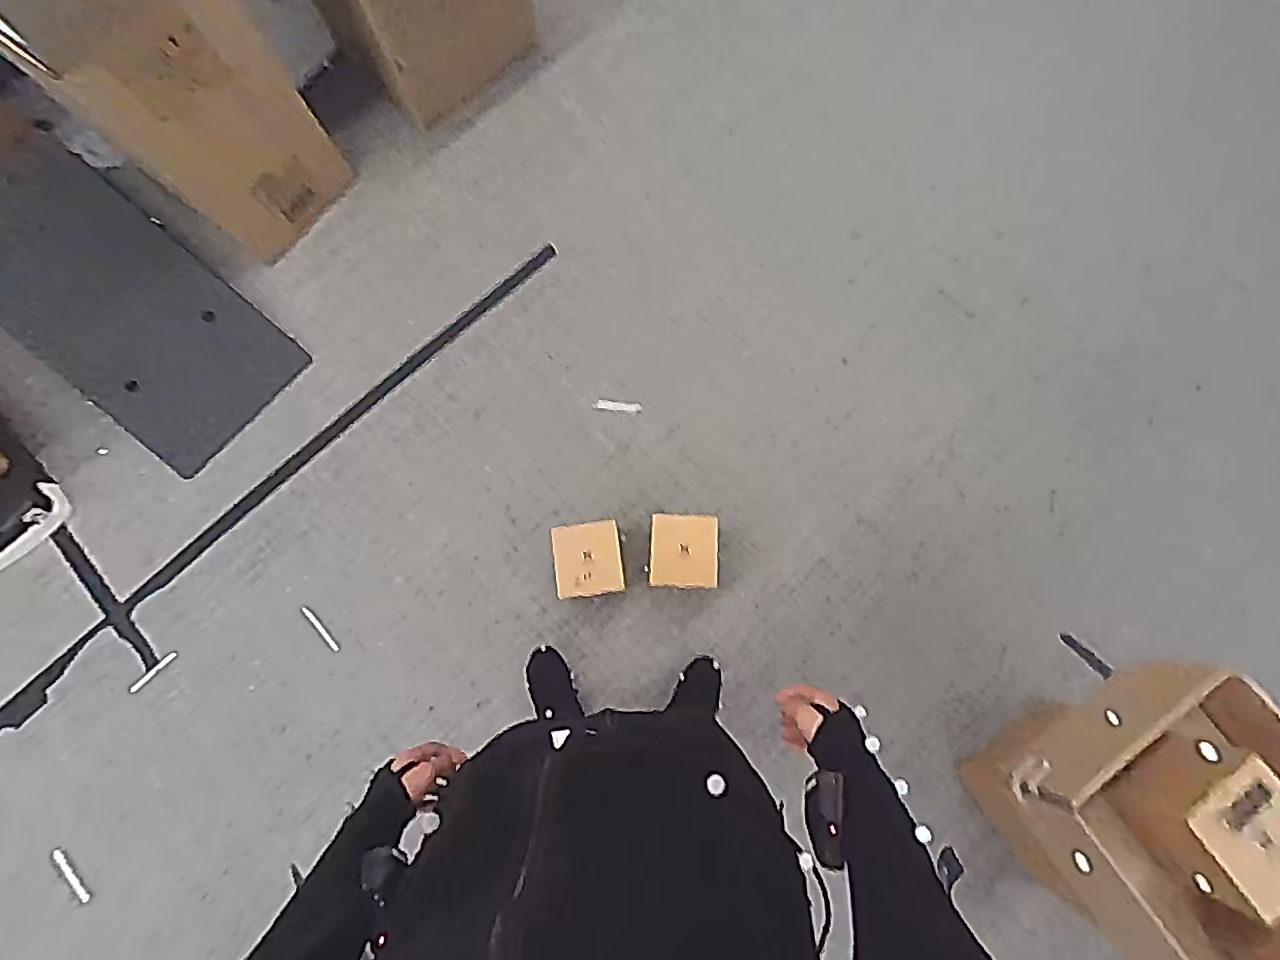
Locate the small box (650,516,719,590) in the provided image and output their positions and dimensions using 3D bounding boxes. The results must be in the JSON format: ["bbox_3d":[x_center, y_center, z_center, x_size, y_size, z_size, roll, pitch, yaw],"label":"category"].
[{"bbox_3d":[0.112,0.195,1.412,0.168,0.176,0.179,2,78,1],"label":"small box"}]

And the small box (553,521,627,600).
[{"bbox_3d":[-0.126,0.214,1.408,0.168,0.176,0.179,-8,78,0],"label":"small box"}]

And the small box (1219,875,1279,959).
[{"bbox_3d":[1.084,0.767,0.835,0.179,0.176,0.168,-34,78,-10],"label":"small box"}]
